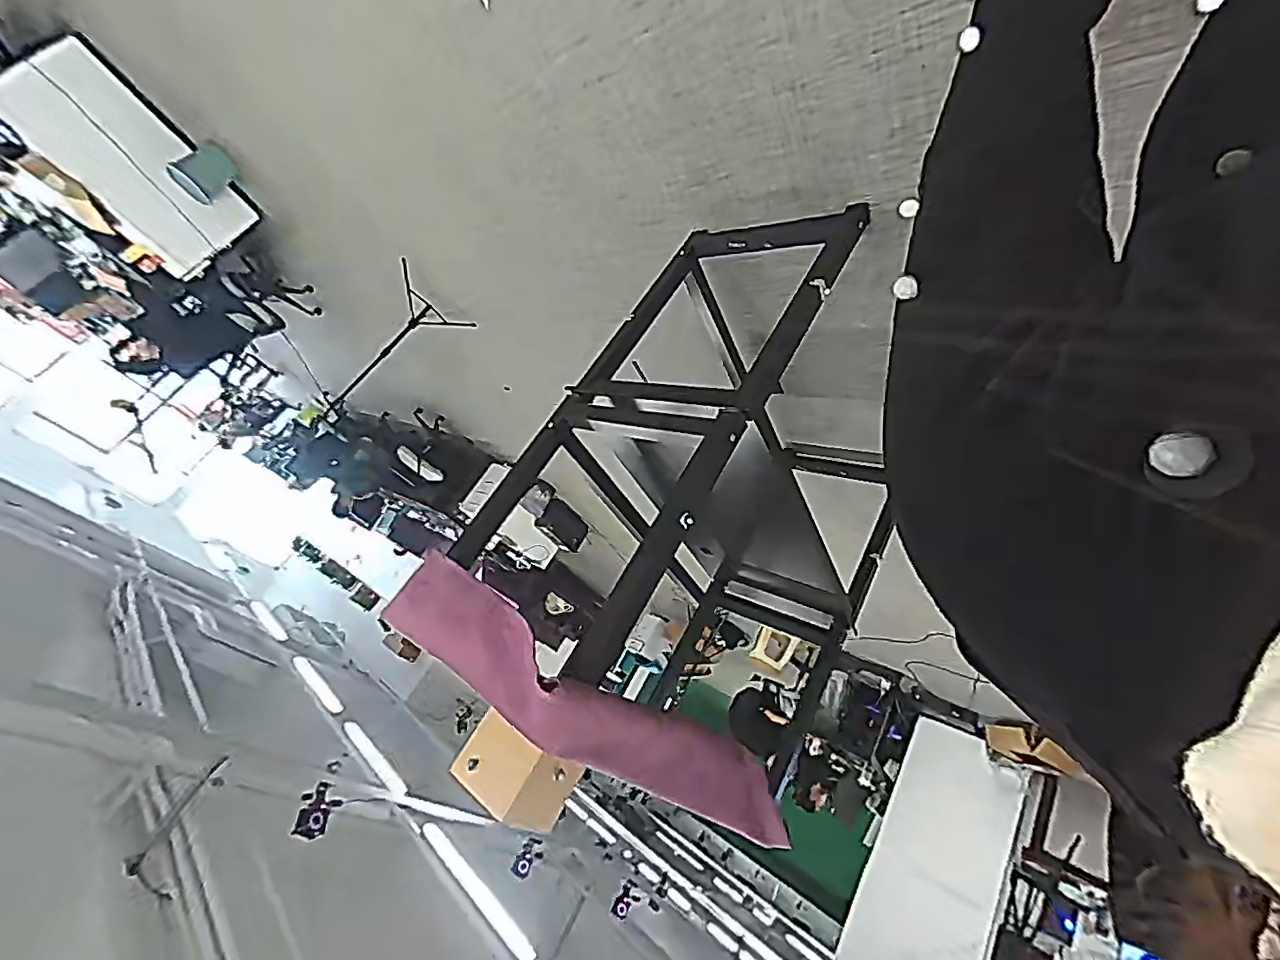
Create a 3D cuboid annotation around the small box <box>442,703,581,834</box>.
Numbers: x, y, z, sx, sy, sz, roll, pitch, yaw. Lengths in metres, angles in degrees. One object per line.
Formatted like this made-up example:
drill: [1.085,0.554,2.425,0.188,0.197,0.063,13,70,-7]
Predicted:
small box: [-0.254,0.574,1.095,0.179,0.176,0.168,16,155,38]
